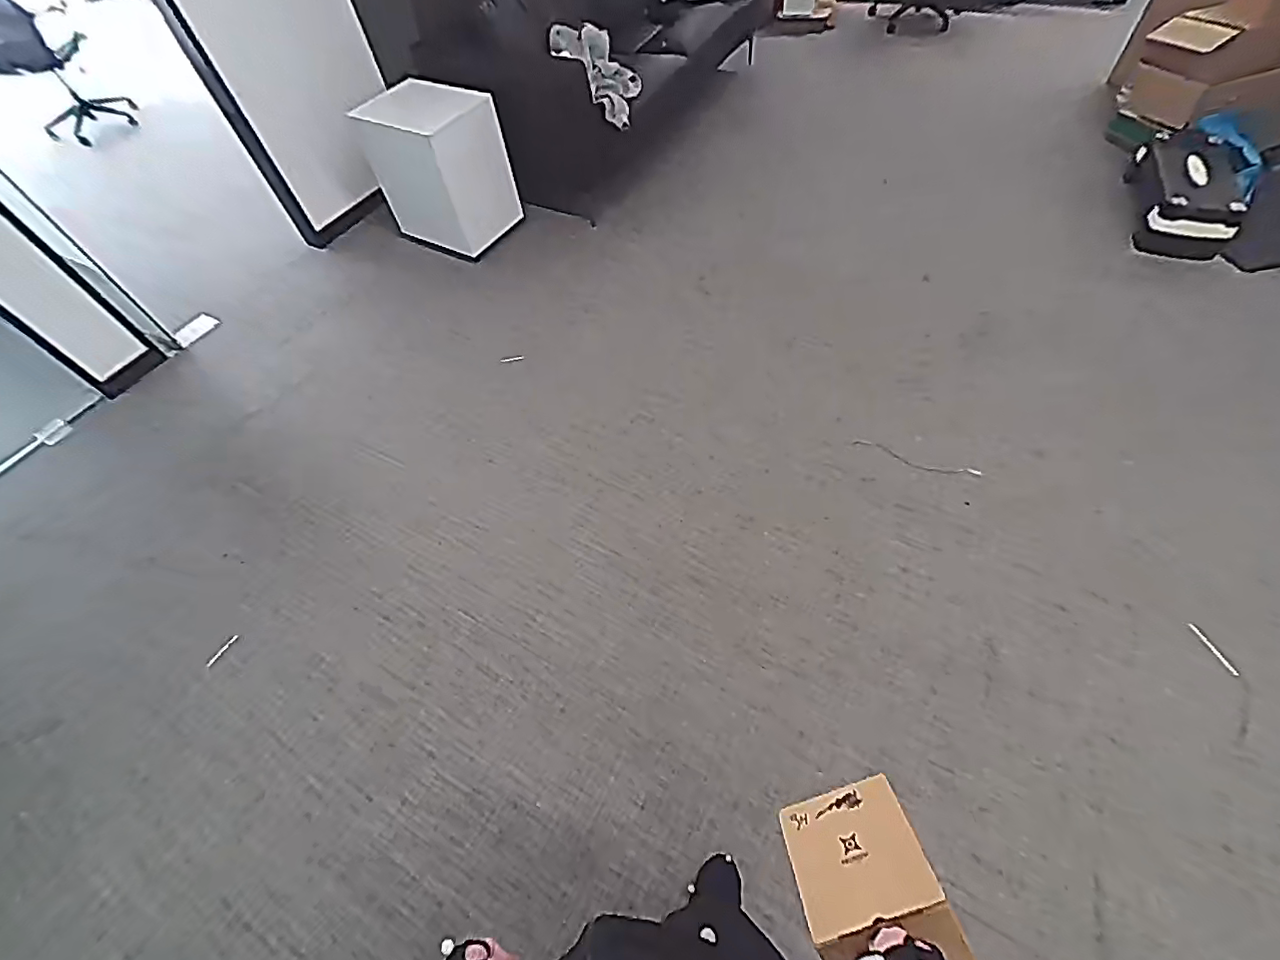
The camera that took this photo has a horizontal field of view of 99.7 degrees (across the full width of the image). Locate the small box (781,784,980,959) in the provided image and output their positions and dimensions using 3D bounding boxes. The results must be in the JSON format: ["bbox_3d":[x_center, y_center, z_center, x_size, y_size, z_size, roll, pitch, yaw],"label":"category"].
[{"bbox_3d":[0.318,0.563,0.723,0.168,0.176,0.179,-28,16,6],"label":"small box"}]
